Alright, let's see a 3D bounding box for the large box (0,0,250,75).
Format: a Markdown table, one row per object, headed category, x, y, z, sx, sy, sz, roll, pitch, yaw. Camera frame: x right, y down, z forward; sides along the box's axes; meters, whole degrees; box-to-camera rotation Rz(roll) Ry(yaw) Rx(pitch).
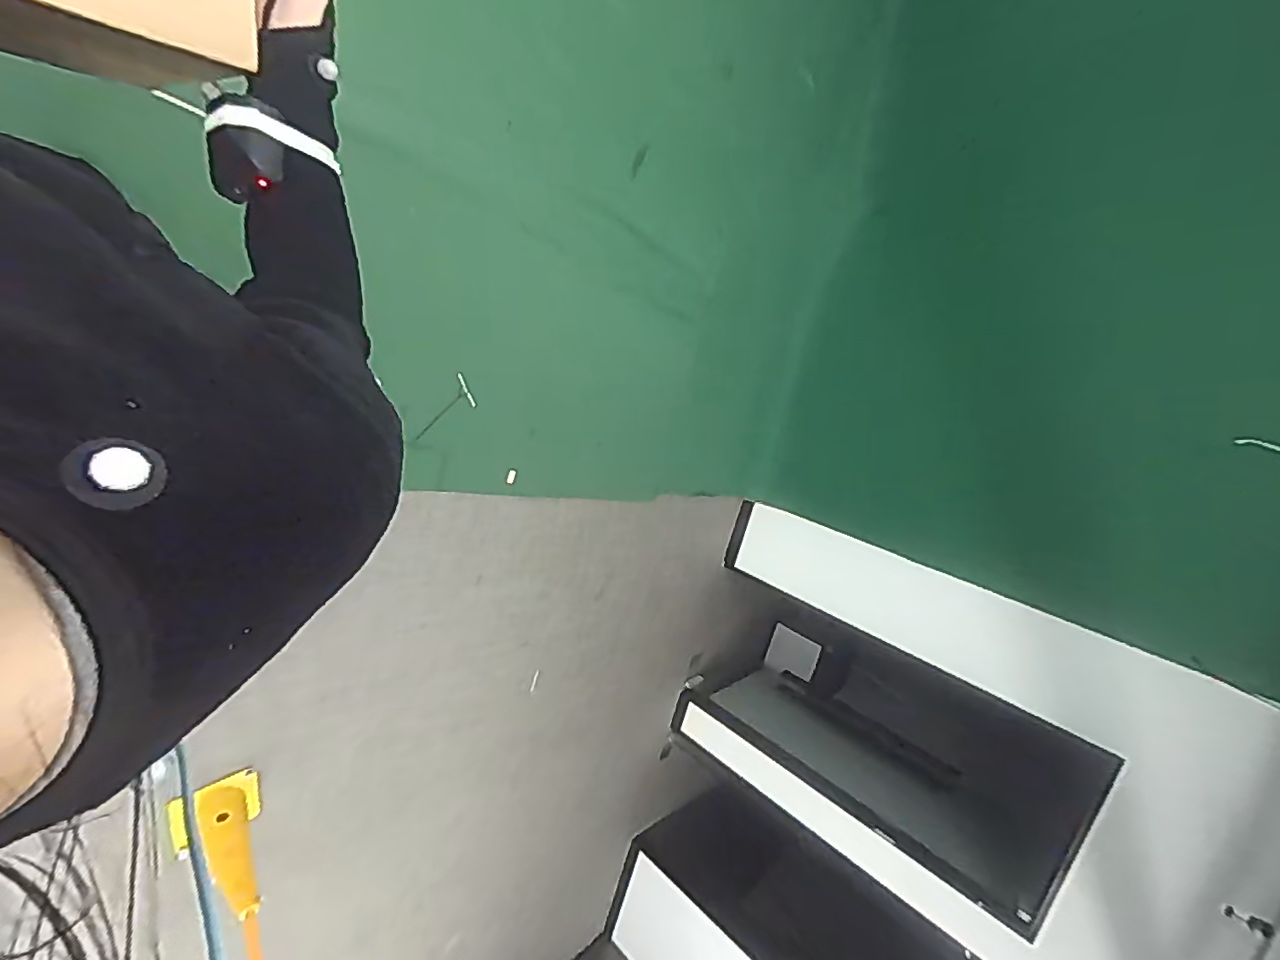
| category | x | y | z | sx | sy | sz | roll | pitch | yaw |
| --- | --- | --- | --- | --- | --- | --- | --- | --- | --- |
| large box | -0.516 | -0.474 | 0.299 | 0.408 | 0.320 | 0.320 | -16 | 123 | -48 |
